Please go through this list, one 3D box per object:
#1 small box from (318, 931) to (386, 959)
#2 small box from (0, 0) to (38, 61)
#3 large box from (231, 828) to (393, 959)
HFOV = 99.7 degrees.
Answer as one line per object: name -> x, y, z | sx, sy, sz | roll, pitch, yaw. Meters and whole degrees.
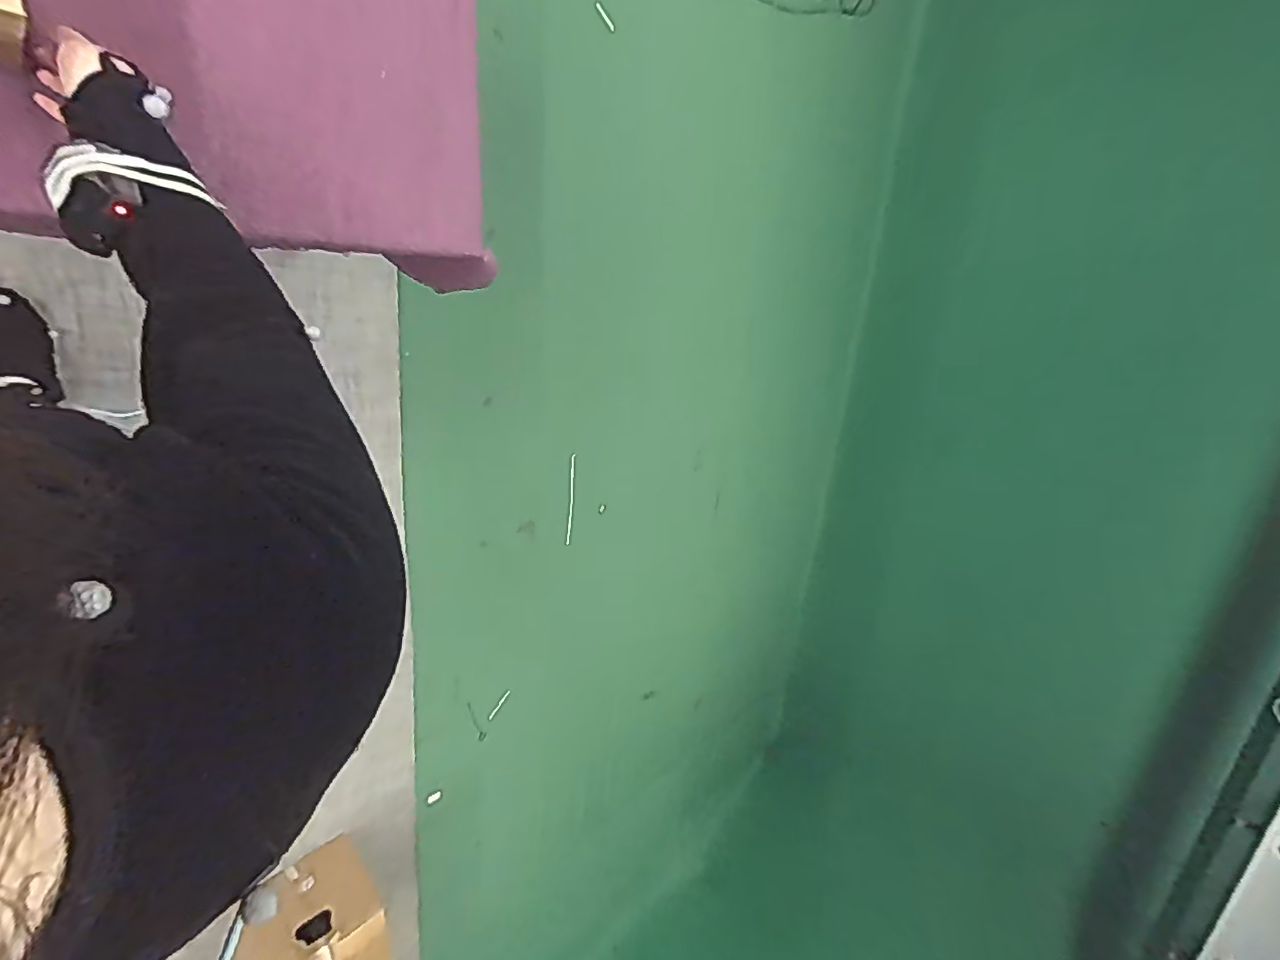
small box -> -0.778, 1.385, 1.450 | 0.168, 0.176, 0.179 | 0, 105, -51
small box -> -0.529, -0.393, 0.336 | 0.179, 0.176, 0.168 | -17, 117, -44
large box -> -0.967, 1.369, 1.613 | 0.320, 0.320, 0.408 | -15, 118, -46
